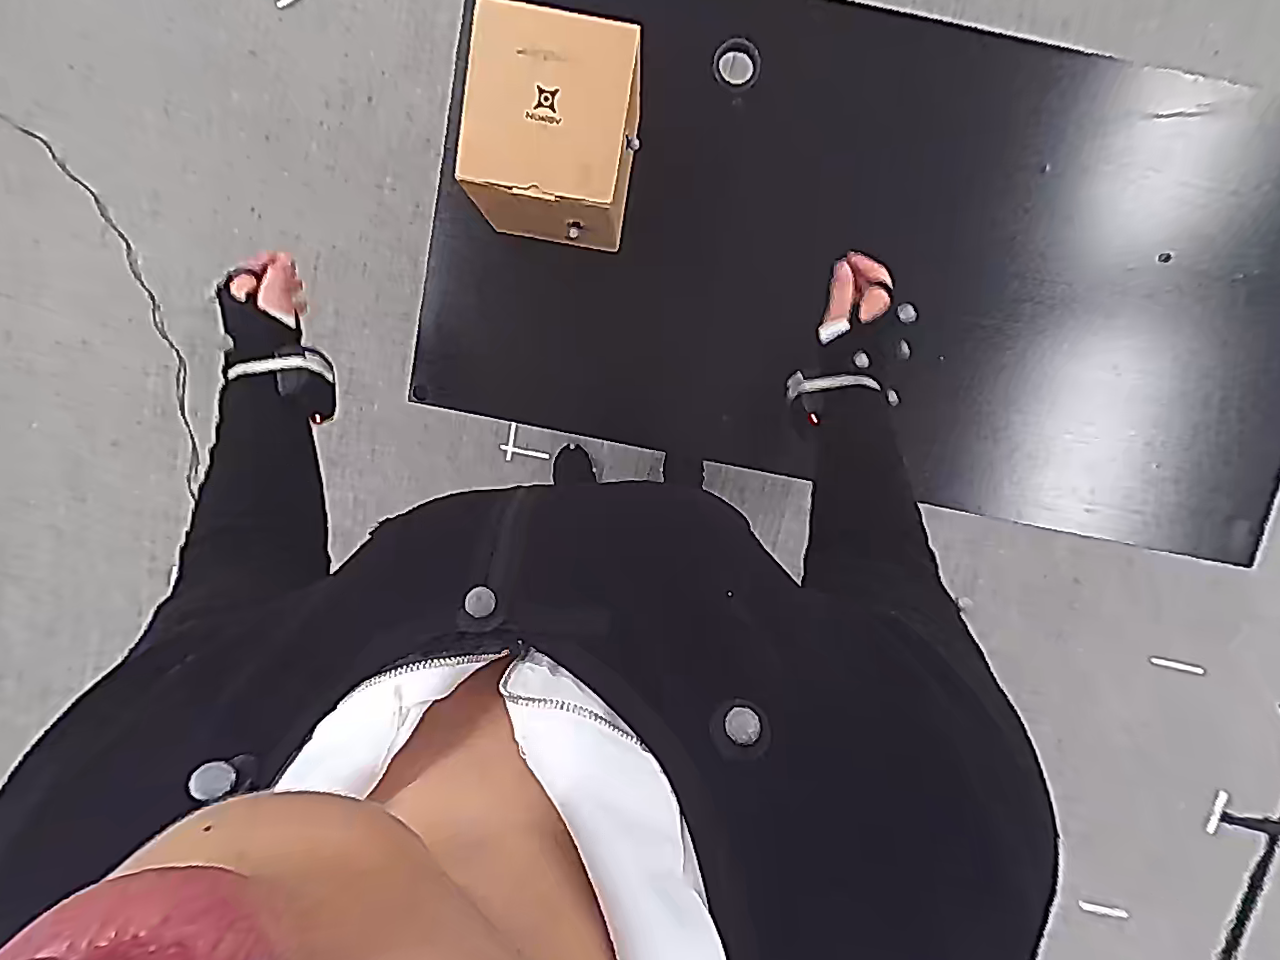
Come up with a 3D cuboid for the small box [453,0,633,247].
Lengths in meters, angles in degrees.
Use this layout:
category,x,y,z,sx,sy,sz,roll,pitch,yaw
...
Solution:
category,x,y,z,sx,sy,sz,roll,pitch,yaw
small box,-0.101,-0.392,0.630,0.168,0.176,0.179,9,96,-3
